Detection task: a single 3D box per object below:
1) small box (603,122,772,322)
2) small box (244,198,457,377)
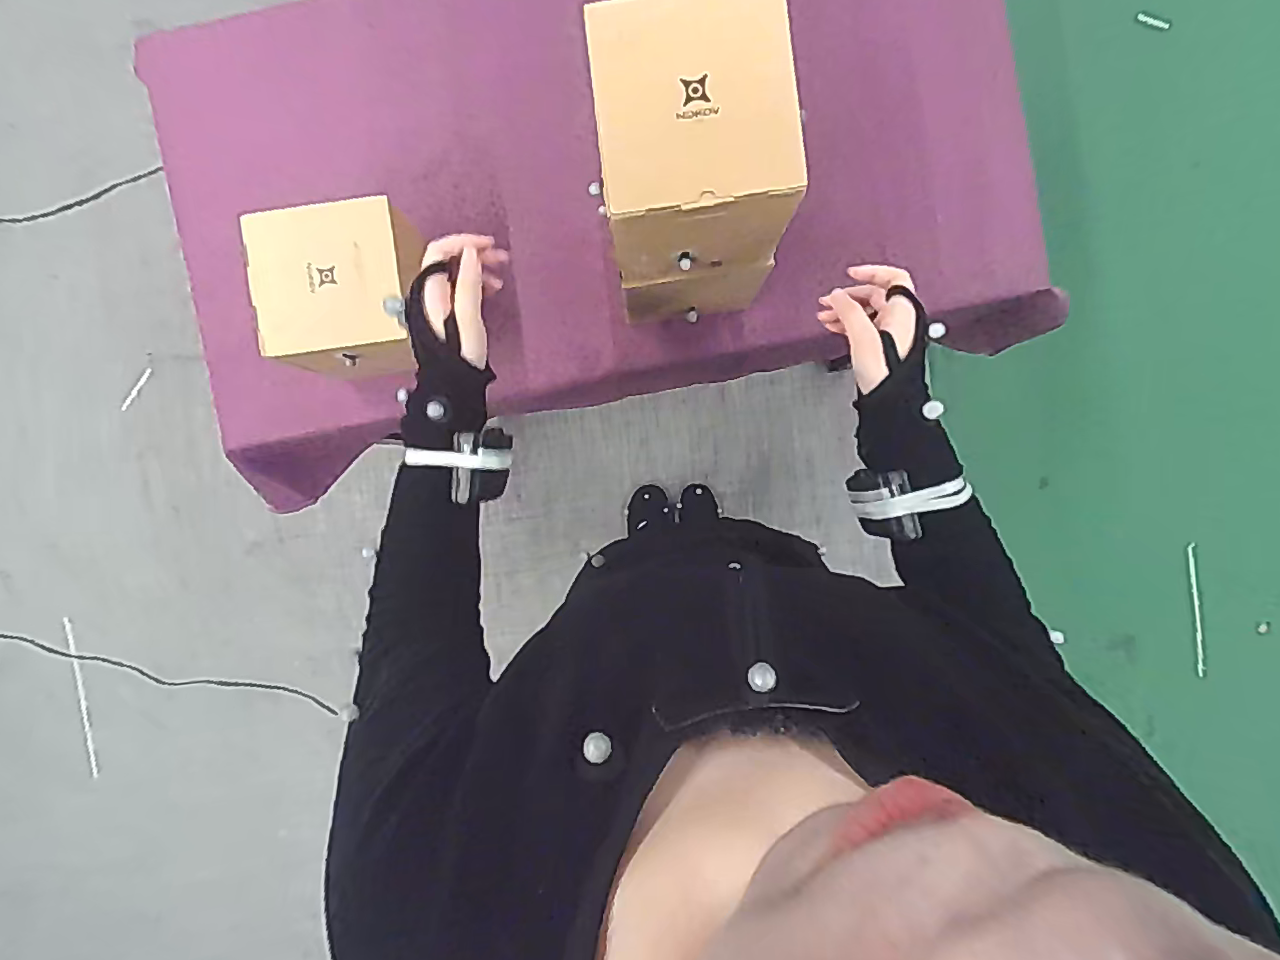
[{"bbox_3d":[0.054,-0.313,0.689,0.179,0.176,0.168,-8,91,1],"label":"small box"},{"bbox_3d":[-0.360,-0.235,0.702,0.179,0.176,0.168,-7,92,1],"label":"small box"}]
